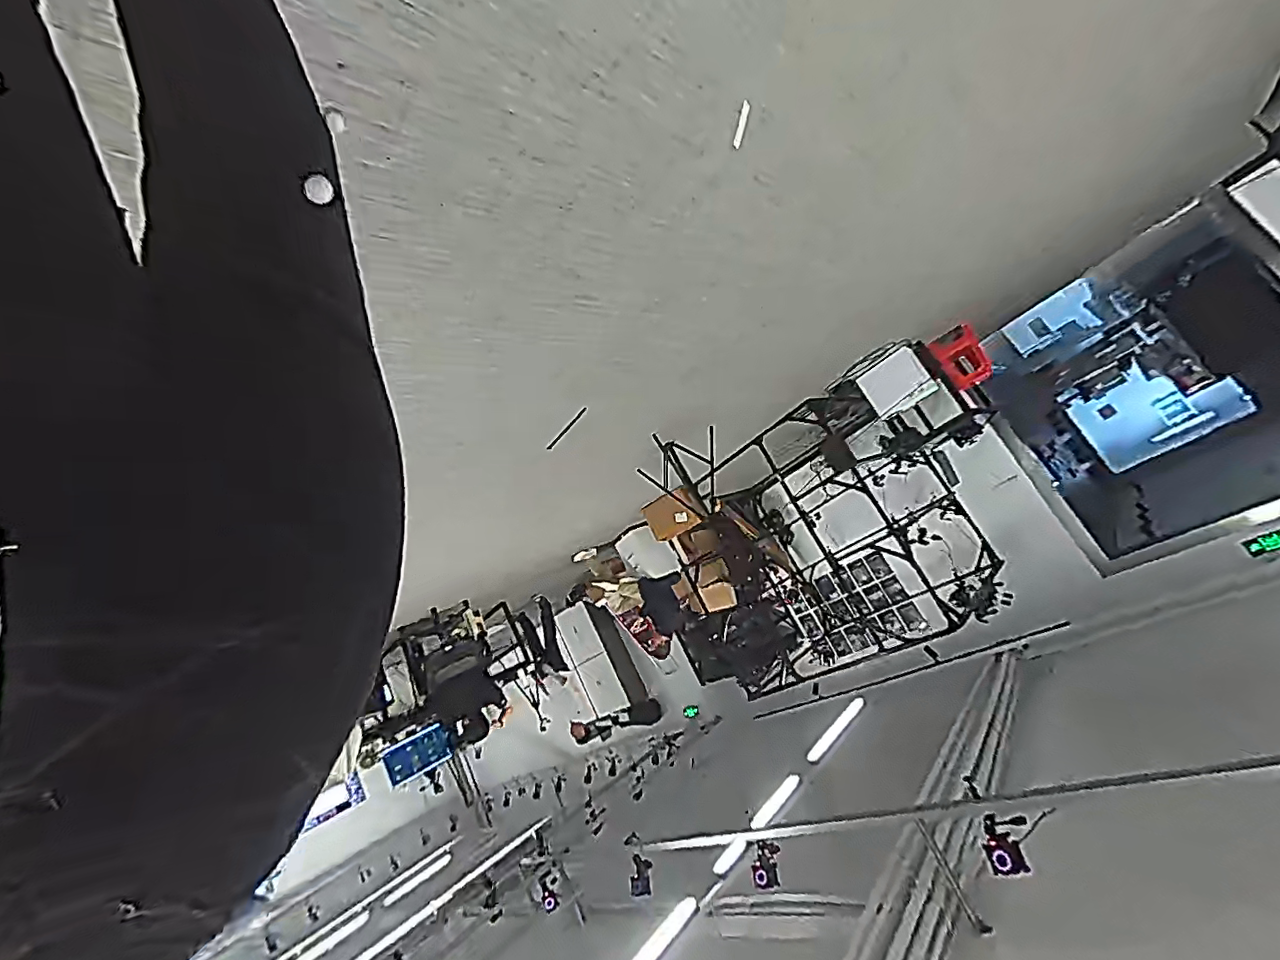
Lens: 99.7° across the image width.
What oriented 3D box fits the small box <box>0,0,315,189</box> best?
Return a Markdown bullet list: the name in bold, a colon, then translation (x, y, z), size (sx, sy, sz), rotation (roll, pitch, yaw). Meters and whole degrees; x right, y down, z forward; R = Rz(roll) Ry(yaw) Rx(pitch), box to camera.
- **small box**: translation (-0.346, -0.329, 0.332), size (0.179, 0.168, 0.176), rotation (-63, 172, -5)
